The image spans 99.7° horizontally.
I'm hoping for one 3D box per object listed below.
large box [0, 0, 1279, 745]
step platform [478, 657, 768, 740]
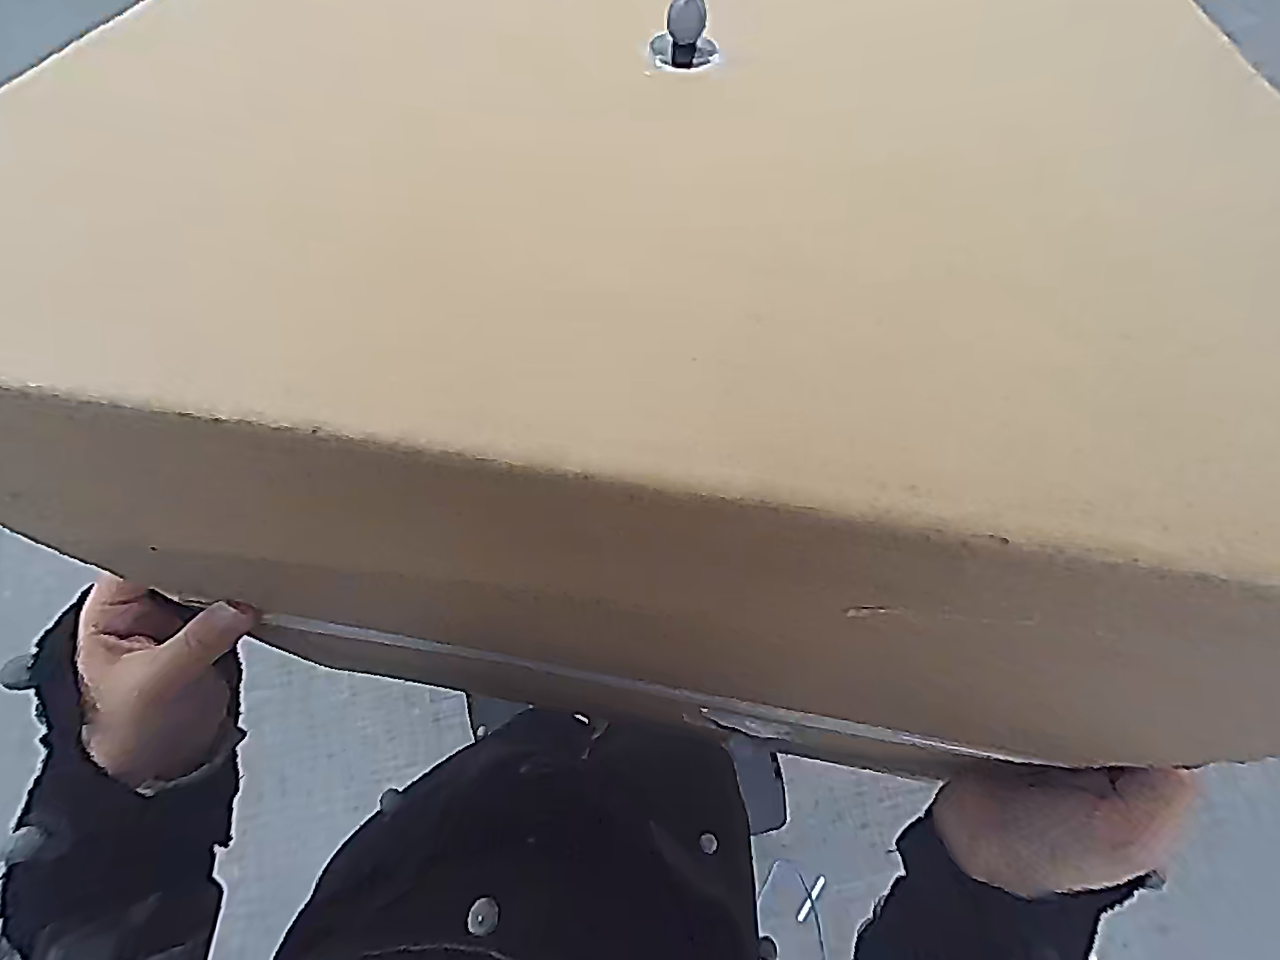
[{"bbox_3d":[0.027,-0.073,0.297,0.408,0.320,0.320,9,60,4],"label":"large box"},{"bbox_3d":[-0.028,0.416,1.277,0.684,0.204,0.286,-6,78,-2],"label":"step platform"}]
